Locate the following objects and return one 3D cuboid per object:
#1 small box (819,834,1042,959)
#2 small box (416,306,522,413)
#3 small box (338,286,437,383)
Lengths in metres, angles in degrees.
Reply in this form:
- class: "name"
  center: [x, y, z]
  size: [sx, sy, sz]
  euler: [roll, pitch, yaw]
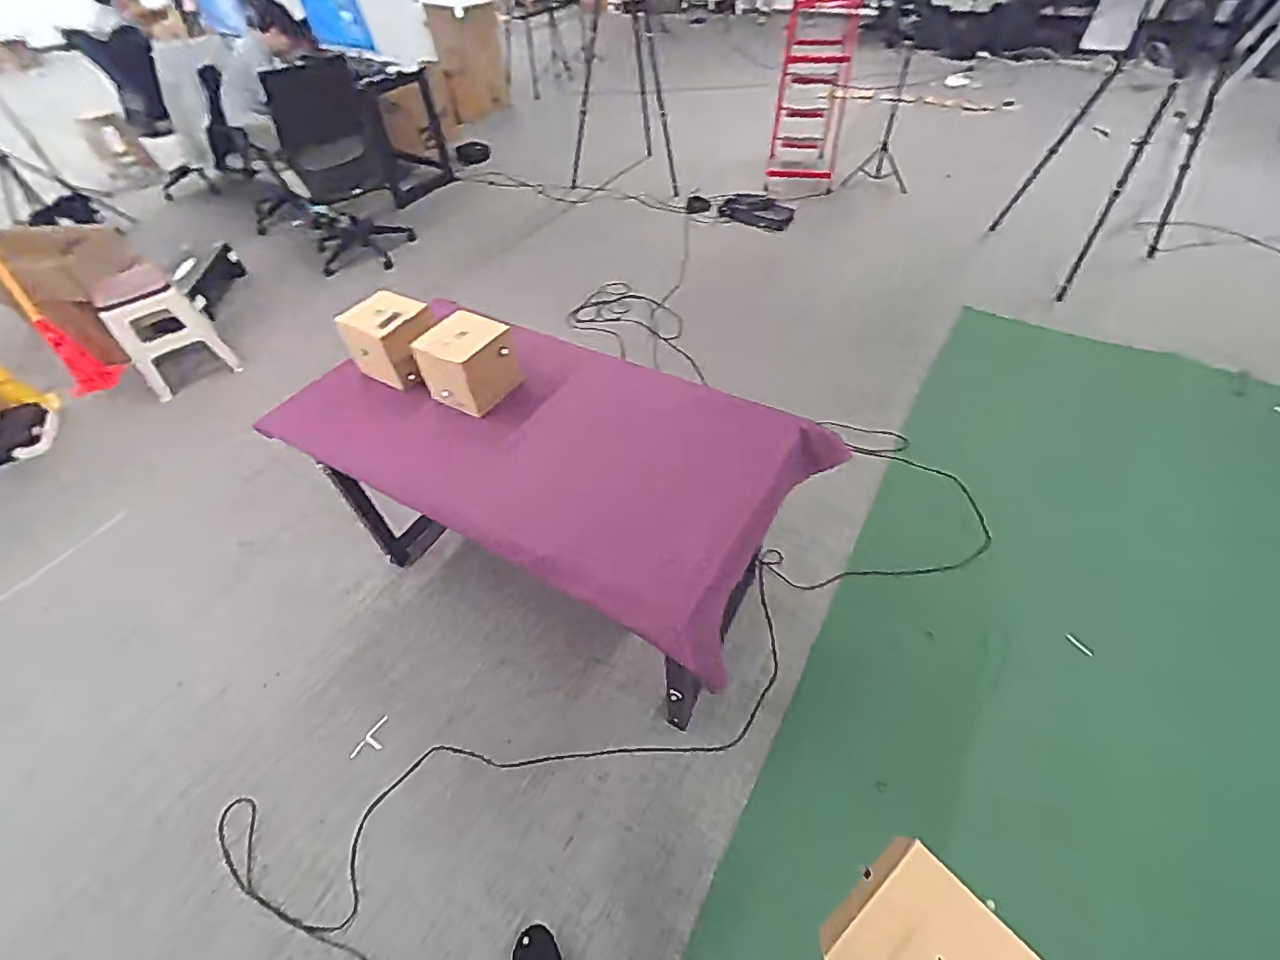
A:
- class: "small box"
  center: [0.328, 0.540, 0.620]
  size: [0.168, 0.176, 0.179]
  euler: [-41, 57, -11]
- class: "small box"
  center: [-0.415, -0.300, 1.351]
  size: [0.168, 0.176, 0.179]
  euler: [24, 55, 22]
- class: "small box"
  center: [-0.643, -0.380, 1.432]
  size: [0.179, 0.176, 0.168]
  euler: [23, 54, 22]
